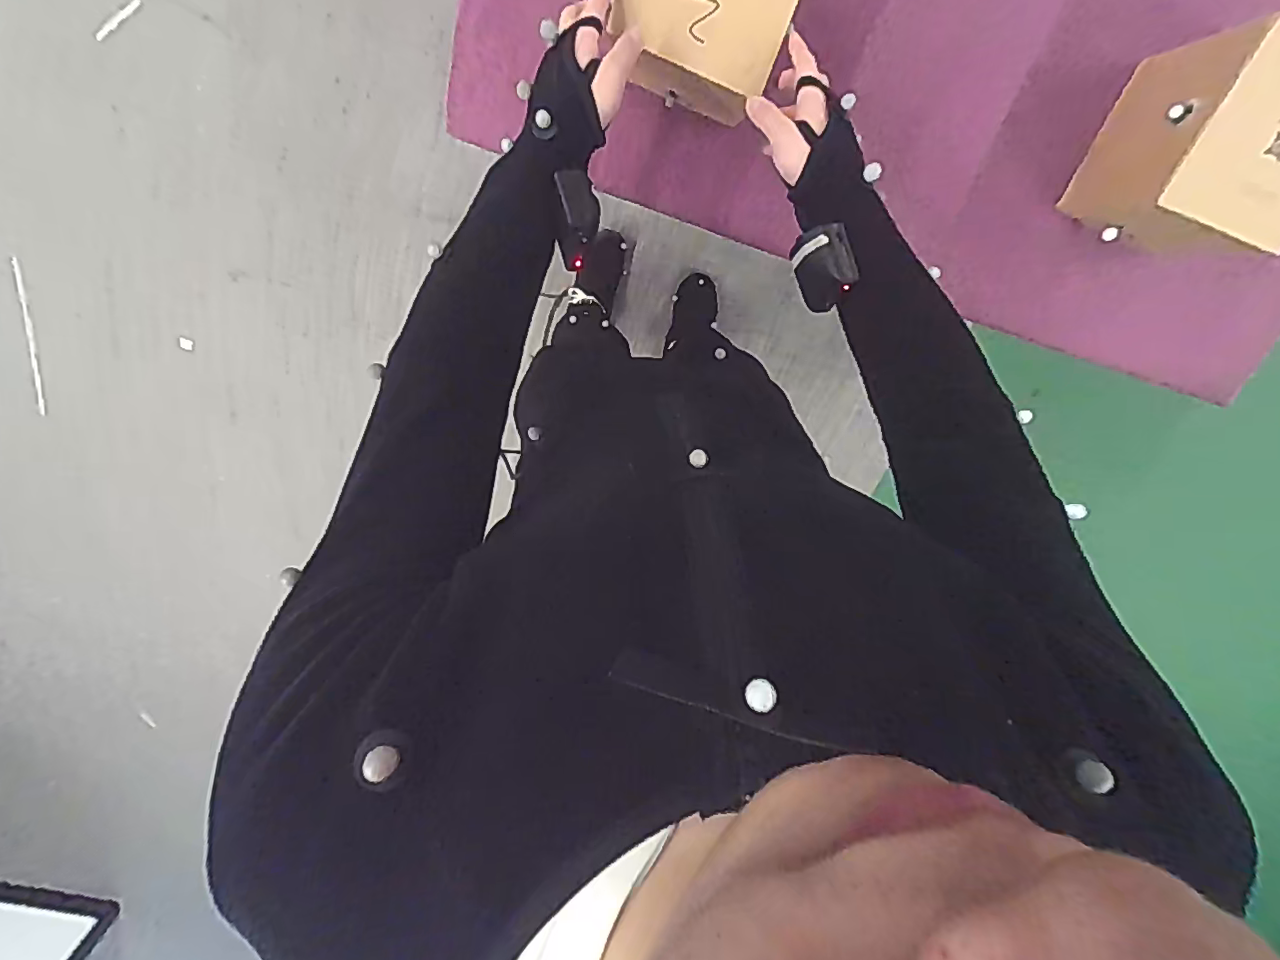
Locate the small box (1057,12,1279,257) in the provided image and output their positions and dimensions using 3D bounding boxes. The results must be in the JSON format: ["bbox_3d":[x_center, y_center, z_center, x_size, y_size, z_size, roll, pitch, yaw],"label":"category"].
[{"bbox_3d":[0.648,-0.378,0.627,0.168,0.176,0.179,18,114,-6],"label":"small box"}]
